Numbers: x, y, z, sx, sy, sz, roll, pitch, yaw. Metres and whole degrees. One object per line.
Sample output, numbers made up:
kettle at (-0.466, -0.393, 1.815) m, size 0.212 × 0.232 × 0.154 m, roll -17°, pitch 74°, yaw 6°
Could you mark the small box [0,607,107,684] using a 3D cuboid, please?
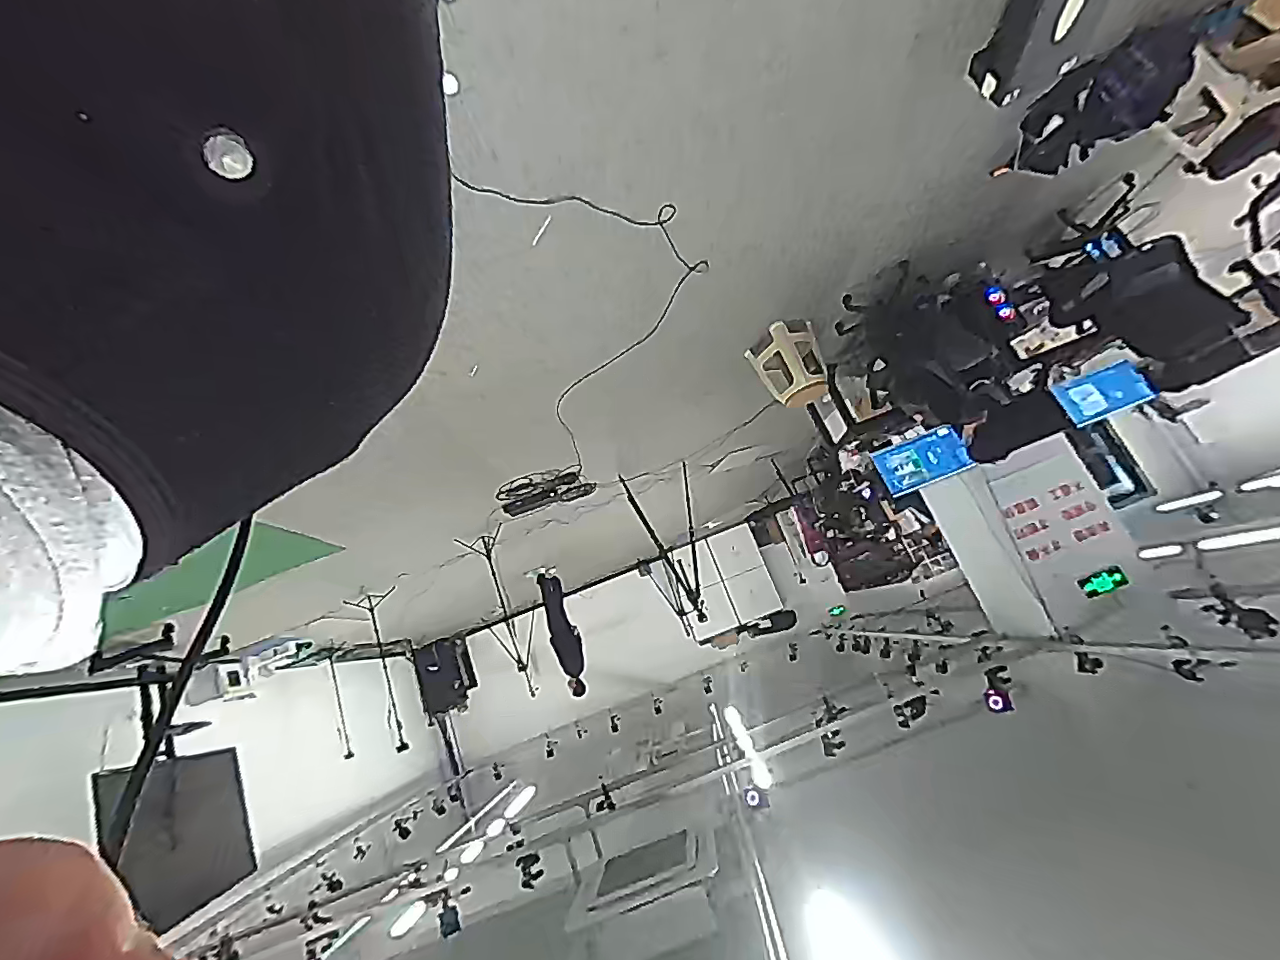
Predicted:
small box at (-1.771, 0.489, 1.622) m, size 0.179 × 0.176 × 0.168 m, roll -24°, pitch 163°, yaw 4°
